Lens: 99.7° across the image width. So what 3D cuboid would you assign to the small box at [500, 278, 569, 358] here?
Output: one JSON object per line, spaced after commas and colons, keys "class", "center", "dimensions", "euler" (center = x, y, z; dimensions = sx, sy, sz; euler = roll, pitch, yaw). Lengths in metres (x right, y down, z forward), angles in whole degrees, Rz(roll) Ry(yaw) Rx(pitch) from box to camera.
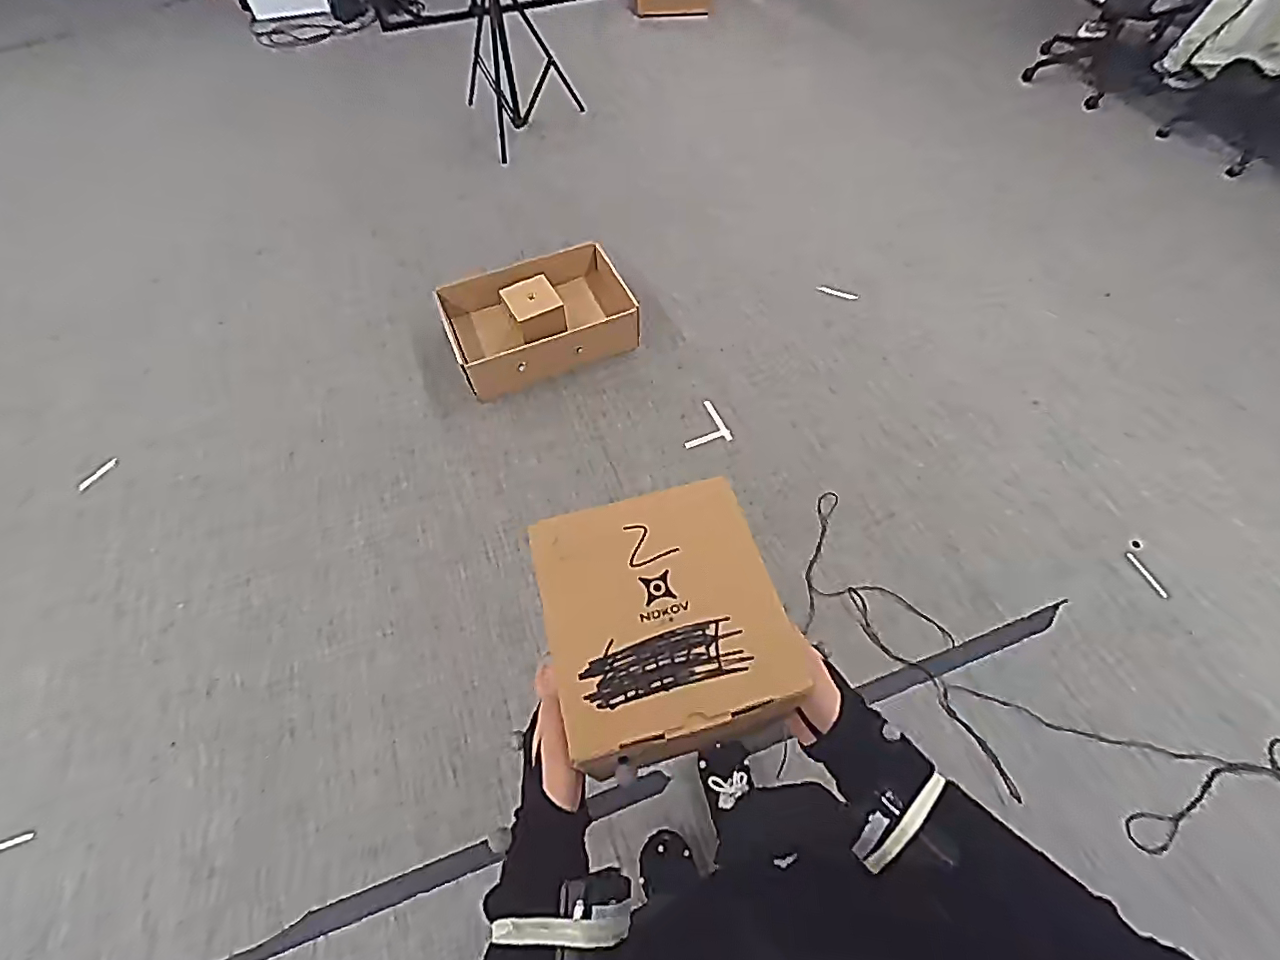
{"class": "small box", "center": [-0.363, -0.559, 1.876], "dimensions": [0.168, 0.176, 0.179], "euler": [-27, 64, -14]}
